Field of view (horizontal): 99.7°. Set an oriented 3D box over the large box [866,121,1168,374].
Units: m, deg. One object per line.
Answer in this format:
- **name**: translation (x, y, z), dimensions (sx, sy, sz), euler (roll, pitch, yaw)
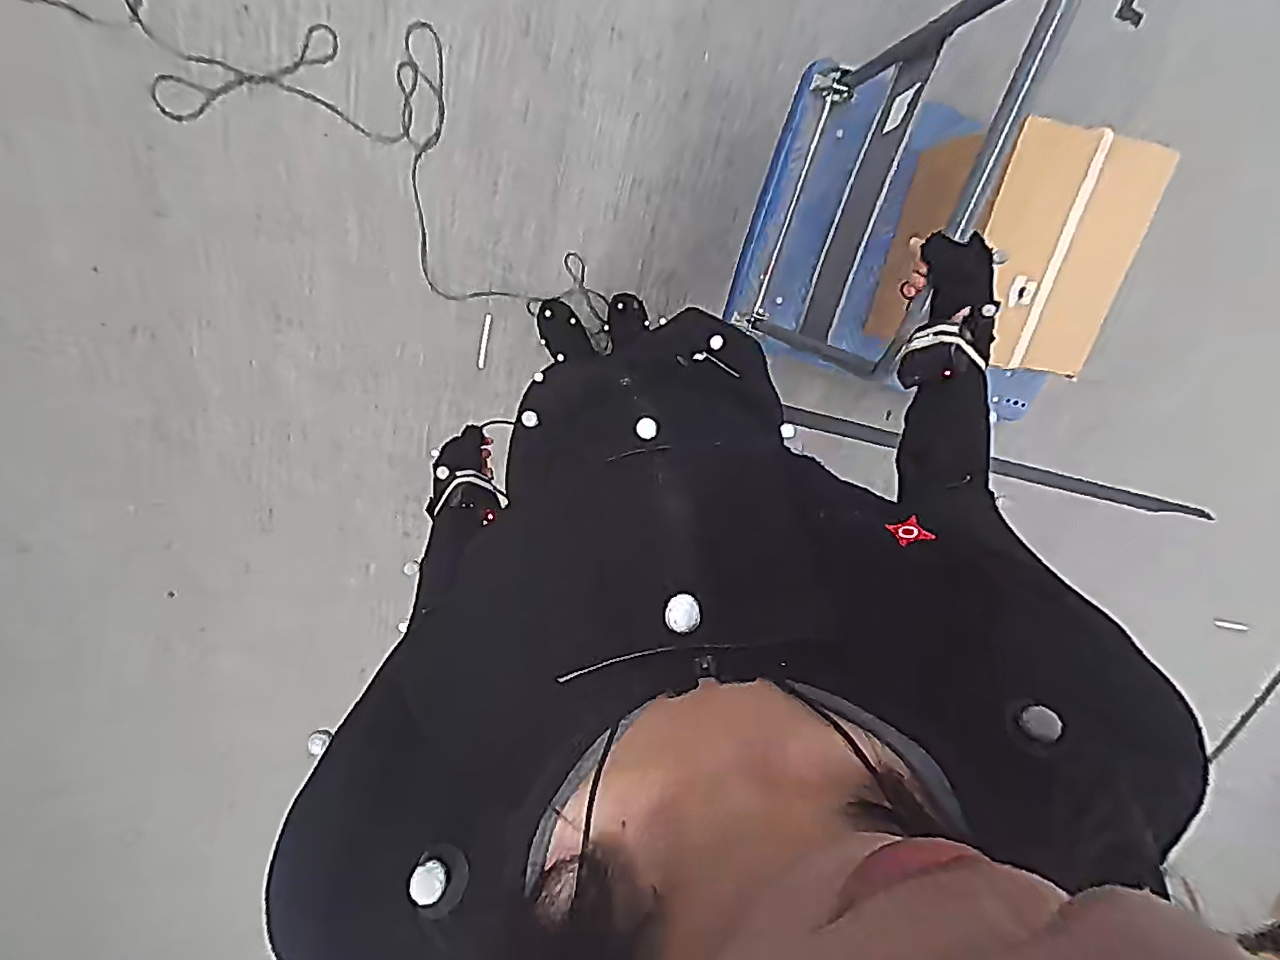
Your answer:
- **large box**: translation (0.739, -0.468, 1.135), dimensions (0.320, 0.320, 0.408), euler (6, 112, -9)
